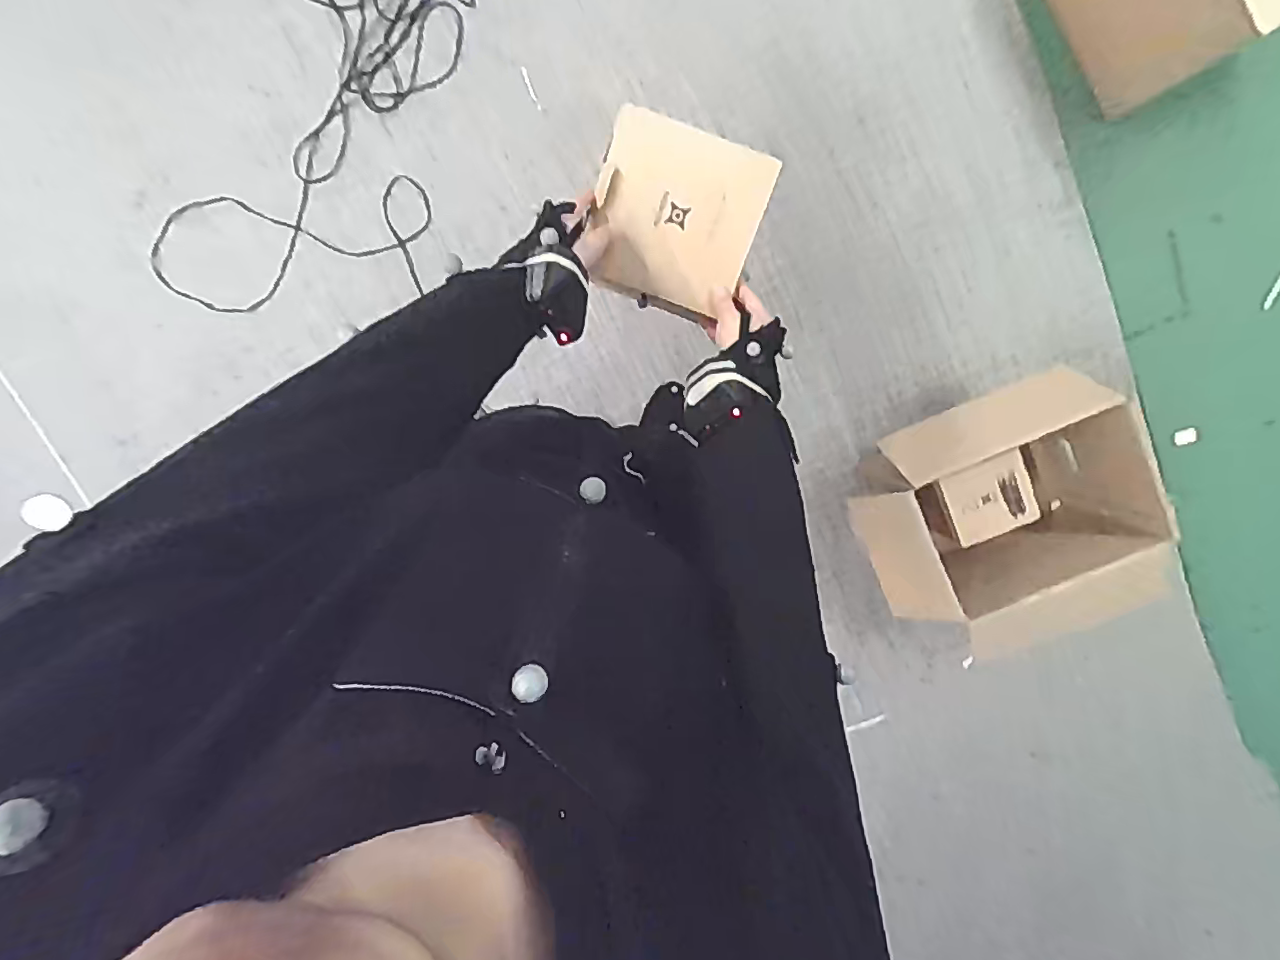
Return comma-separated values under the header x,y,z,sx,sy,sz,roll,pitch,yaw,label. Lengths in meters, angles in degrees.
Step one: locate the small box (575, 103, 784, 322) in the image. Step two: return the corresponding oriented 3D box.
x,y,z,sx,sy,sz,roll,pitch,yaw,label
0.042,-0.292,0.635,0.179,0.176,0.168,19,104,-1,small box
